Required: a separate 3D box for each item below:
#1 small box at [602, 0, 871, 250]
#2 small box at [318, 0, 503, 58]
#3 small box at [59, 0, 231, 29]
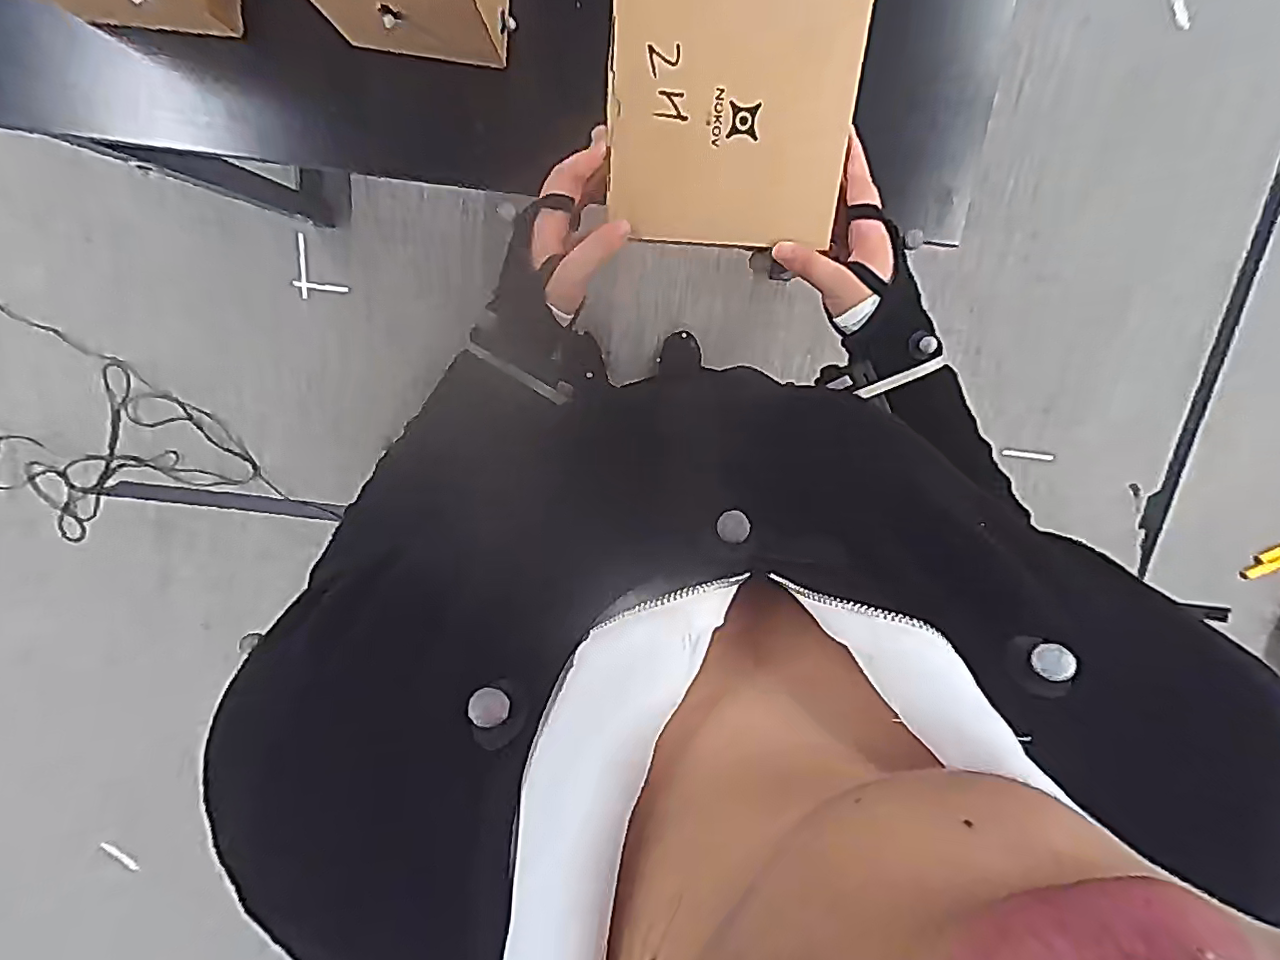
[{"bbox_3d":[0.059,-0.292,0.457,0.179,0.176,0.168,3,113,-4],"label":"small box"},{"bbox_3d":[-0.229,-0.546,0.521,0.179,0.176,0.168,7,105,-3],"label":"small box"},{"bbox_3d":[-0.524,-0.566,0.507,0.179,0.176,0.168,3,104,-2],"label":"small box"}]
